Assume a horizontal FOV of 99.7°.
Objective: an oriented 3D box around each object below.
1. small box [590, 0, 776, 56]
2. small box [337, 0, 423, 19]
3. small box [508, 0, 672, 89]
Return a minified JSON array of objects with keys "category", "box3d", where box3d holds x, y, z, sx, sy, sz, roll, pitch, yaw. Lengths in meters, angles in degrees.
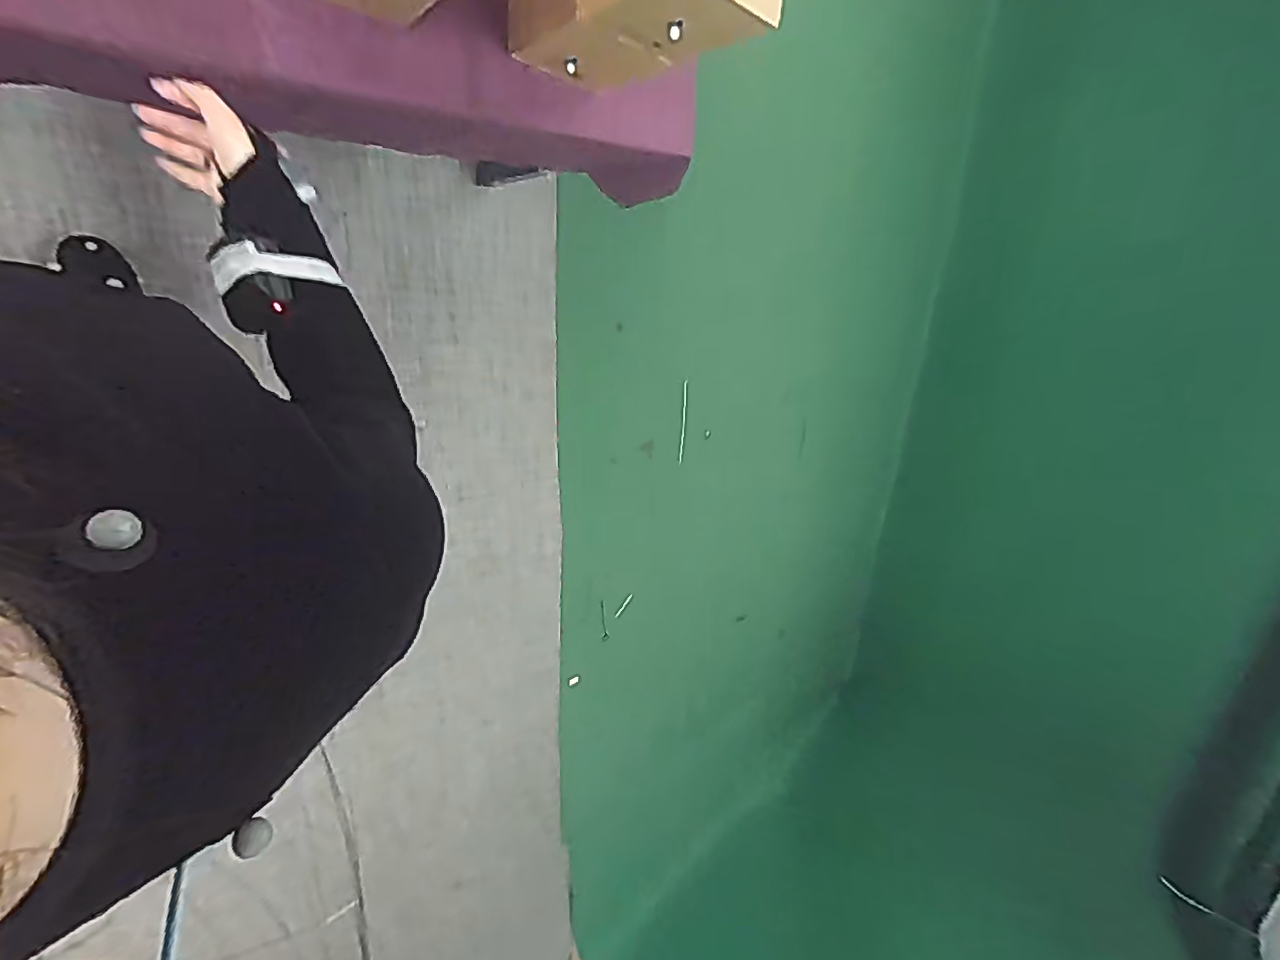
[{"category":"small box","box3d":[0.048,-0.625,0.616,0.168,0.176,0.179,-15,115,-42]},{"category":"small box","box3d":[-0.292,-0.596,0.526,0.179,0.176,0.168,-14,114,-41]},{"category":"small box","box3d":[-0.066,-0.668,0.728,0.168,0.176,0.179,-13,115,-42]}]
